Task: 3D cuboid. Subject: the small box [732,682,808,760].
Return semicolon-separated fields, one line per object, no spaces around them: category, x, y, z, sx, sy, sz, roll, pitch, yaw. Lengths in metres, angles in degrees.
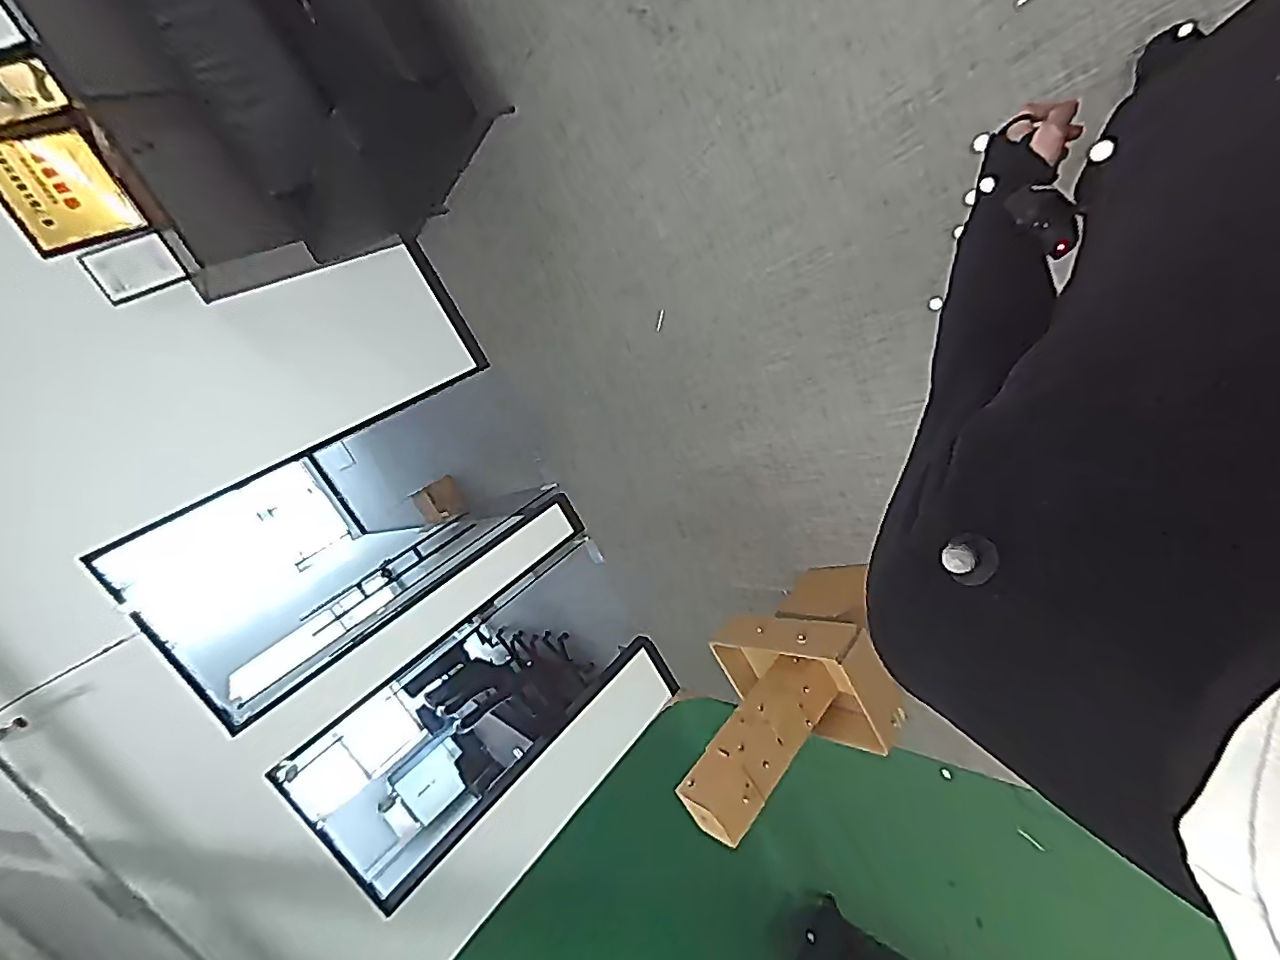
small box;0.465;0.837;1.898;0.179;0.176;0.168;-13;110;56

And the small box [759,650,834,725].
small box;0.579;0.754;1.982;0.168;0.176;0.179;-15;109;56

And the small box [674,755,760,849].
small box;0.248;1.014;1.725;0.179;0.176;0.168;-15;109;56
